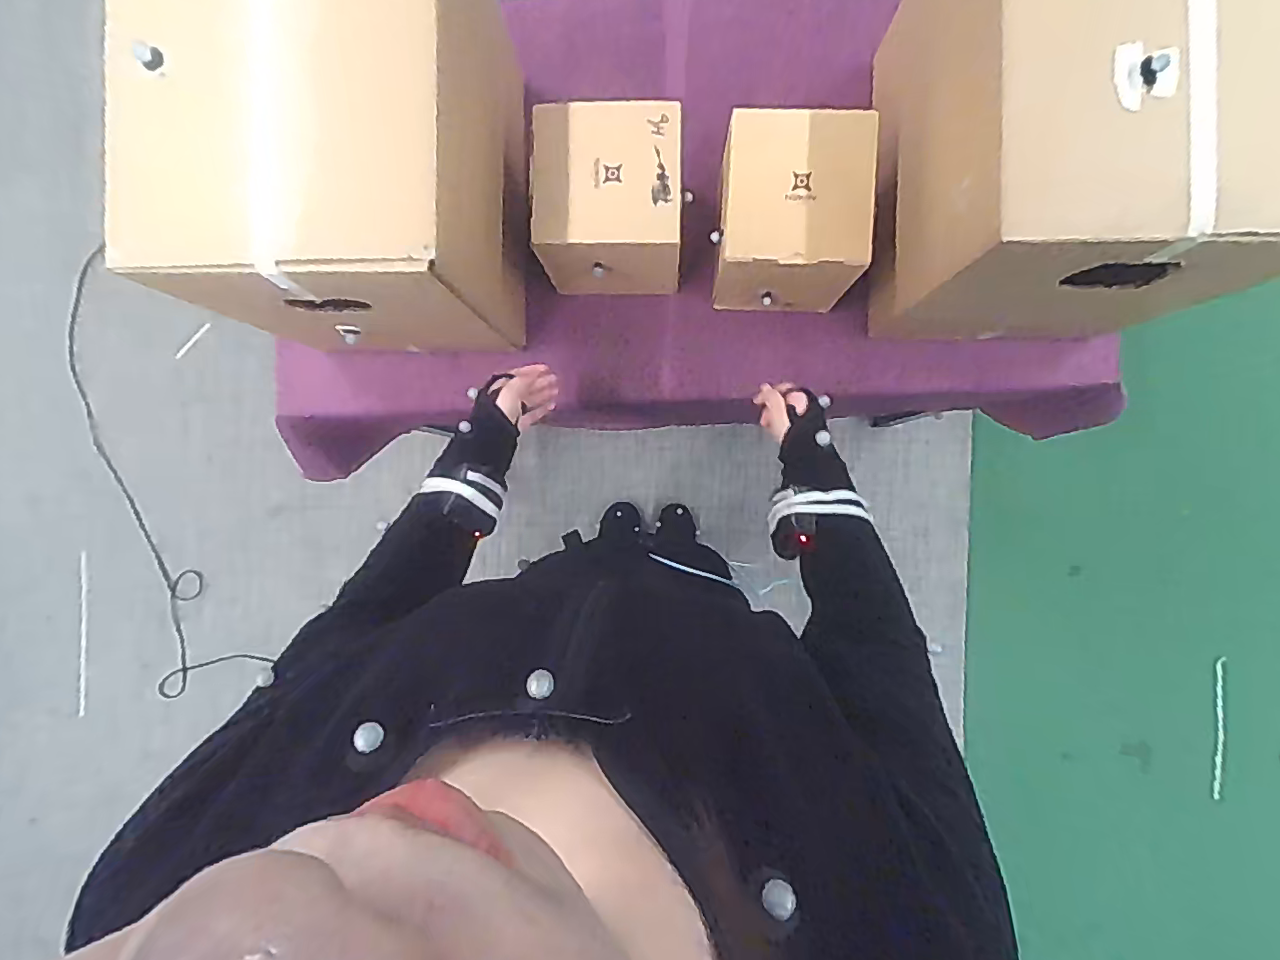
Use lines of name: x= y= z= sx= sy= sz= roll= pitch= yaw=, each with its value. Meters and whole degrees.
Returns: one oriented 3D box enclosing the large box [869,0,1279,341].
large box: x=0.477 y=-0.399 z=0.621 sx=0.320 sy=0.320 sz=0.408 roll=2 pitch=90 yaw=2
